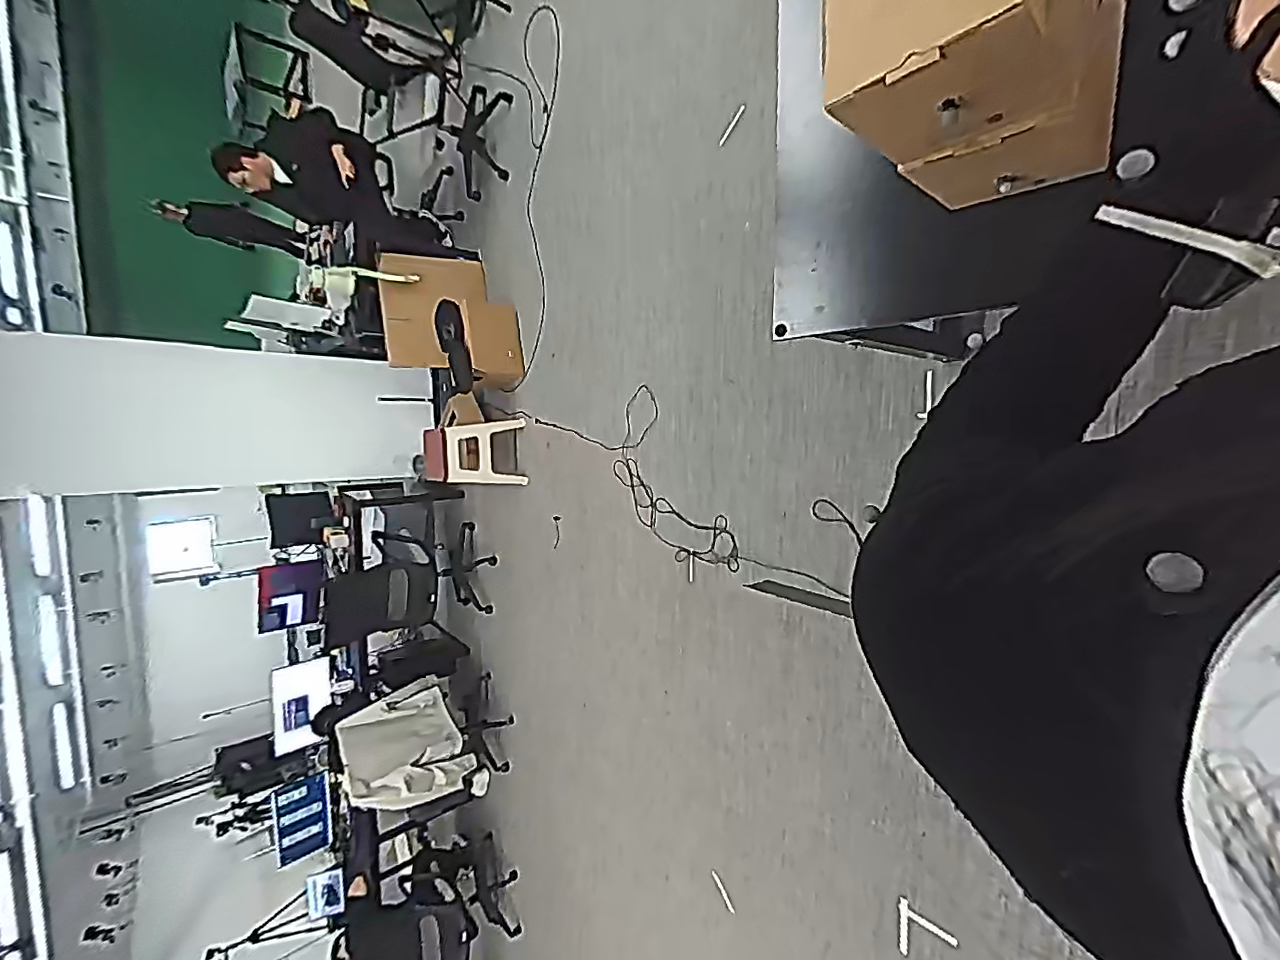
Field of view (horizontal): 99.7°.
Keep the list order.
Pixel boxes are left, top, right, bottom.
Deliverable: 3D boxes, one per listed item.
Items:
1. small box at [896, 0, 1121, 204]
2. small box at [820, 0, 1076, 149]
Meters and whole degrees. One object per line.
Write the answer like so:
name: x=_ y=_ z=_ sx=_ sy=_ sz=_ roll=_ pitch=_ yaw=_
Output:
small box: x=0.412 y=-0.440 z=0.606 sx=0.168 sy=0.176 sz=0.179 roll=9 pitch=101 yaw=49
small box: x=0.286 y=-0.438 z=0.500 sx=0.168 sy=0.176 sz=0.179 roll=5 pitch=98 yaw=49
